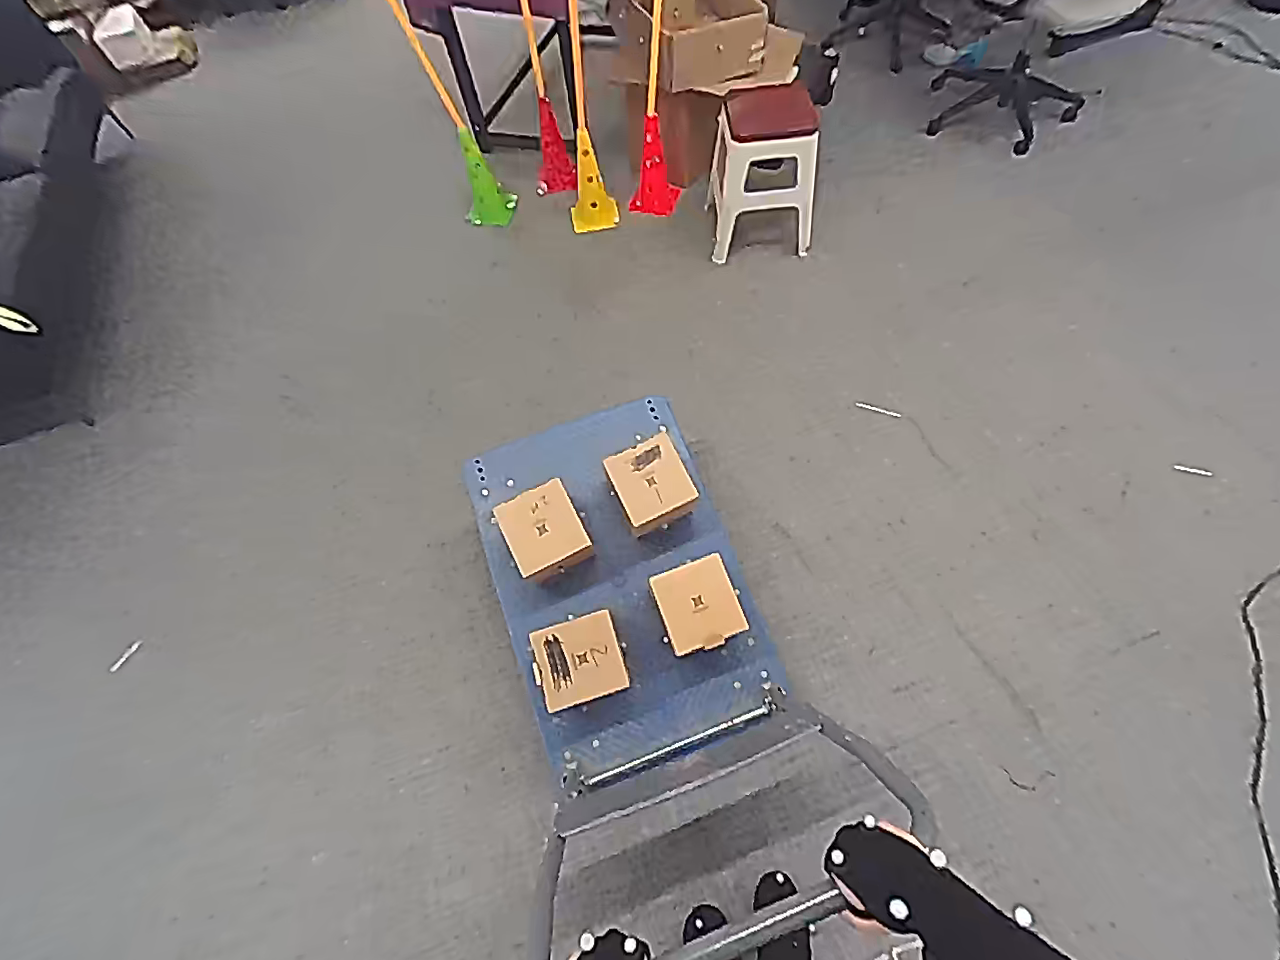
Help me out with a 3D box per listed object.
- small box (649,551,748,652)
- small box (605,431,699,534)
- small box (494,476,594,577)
[{"bbox_3d":[0.124,0.279,1.235,0.168,0.176,0.179,-20,77,-6],"label":"small box"},{"bbox_3d":[0.024,0.012,1.304,0.168,0.176,0.179,-25,77,-7],"label":"small box"},{"bbox_3d":[-0.218,0.118,1.271,0.168,0.176,0.179,-26,77,-8],"label":"small box"}]
